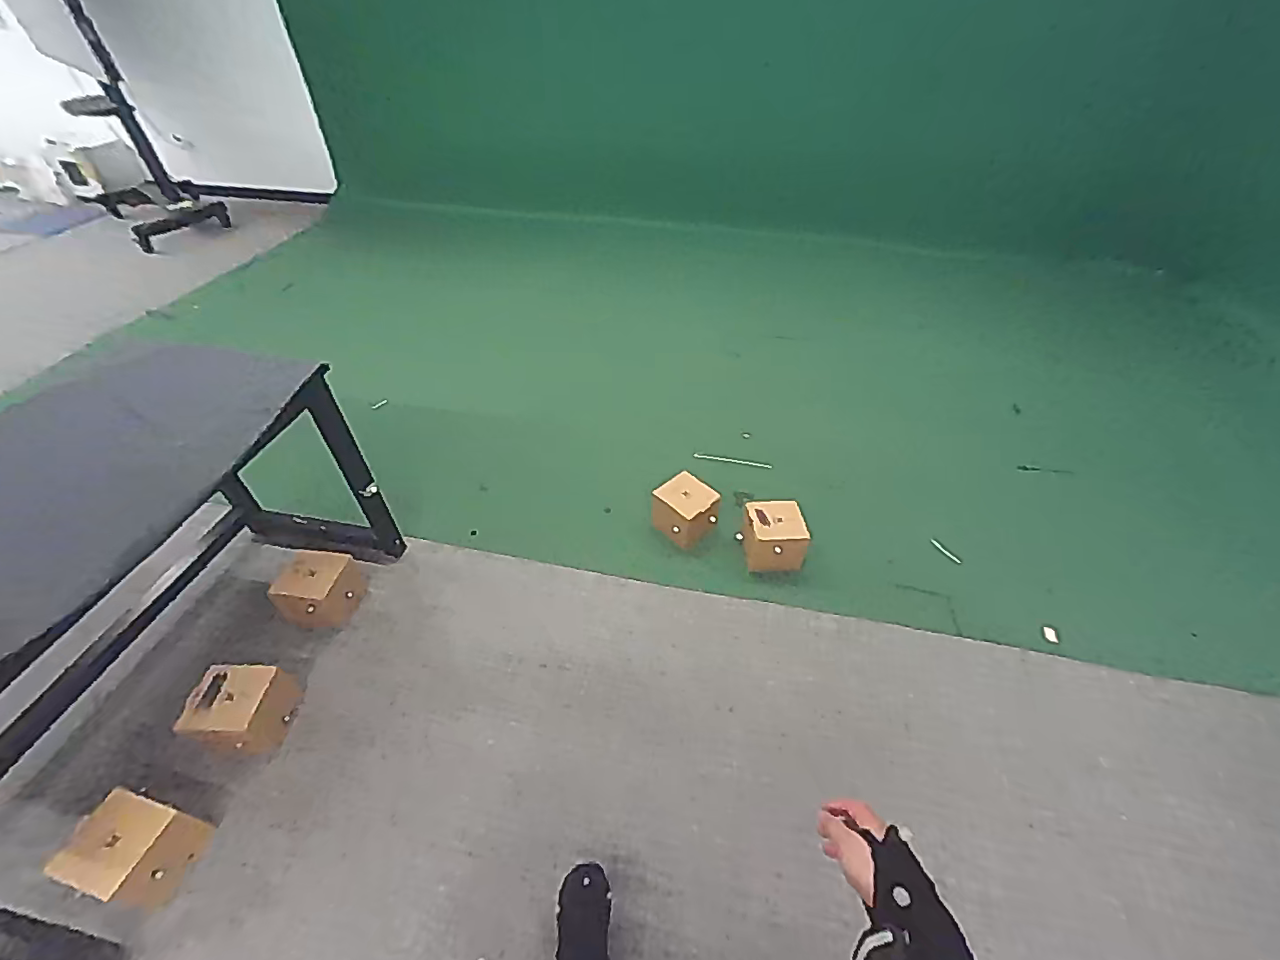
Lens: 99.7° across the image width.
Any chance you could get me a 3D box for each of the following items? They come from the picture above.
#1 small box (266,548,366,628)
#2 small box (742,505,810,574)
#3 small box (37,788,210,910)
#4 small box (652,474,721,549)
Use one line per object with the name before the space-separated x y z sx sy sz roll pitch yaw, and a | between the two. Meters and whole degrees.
small box | -0.974 0.332 1.646 0.179 0.176 0.168 6 44 5
small box | 0.444 0.202 1.803 0.179 0.176 0.168 -2 44 -4
small box | -1.098 0.801 1.169 0.179 0.176 0.168 12 46 11
small box | 0.159 0.118 1.885 0.168 0.176 0.179 -32 53 -30
